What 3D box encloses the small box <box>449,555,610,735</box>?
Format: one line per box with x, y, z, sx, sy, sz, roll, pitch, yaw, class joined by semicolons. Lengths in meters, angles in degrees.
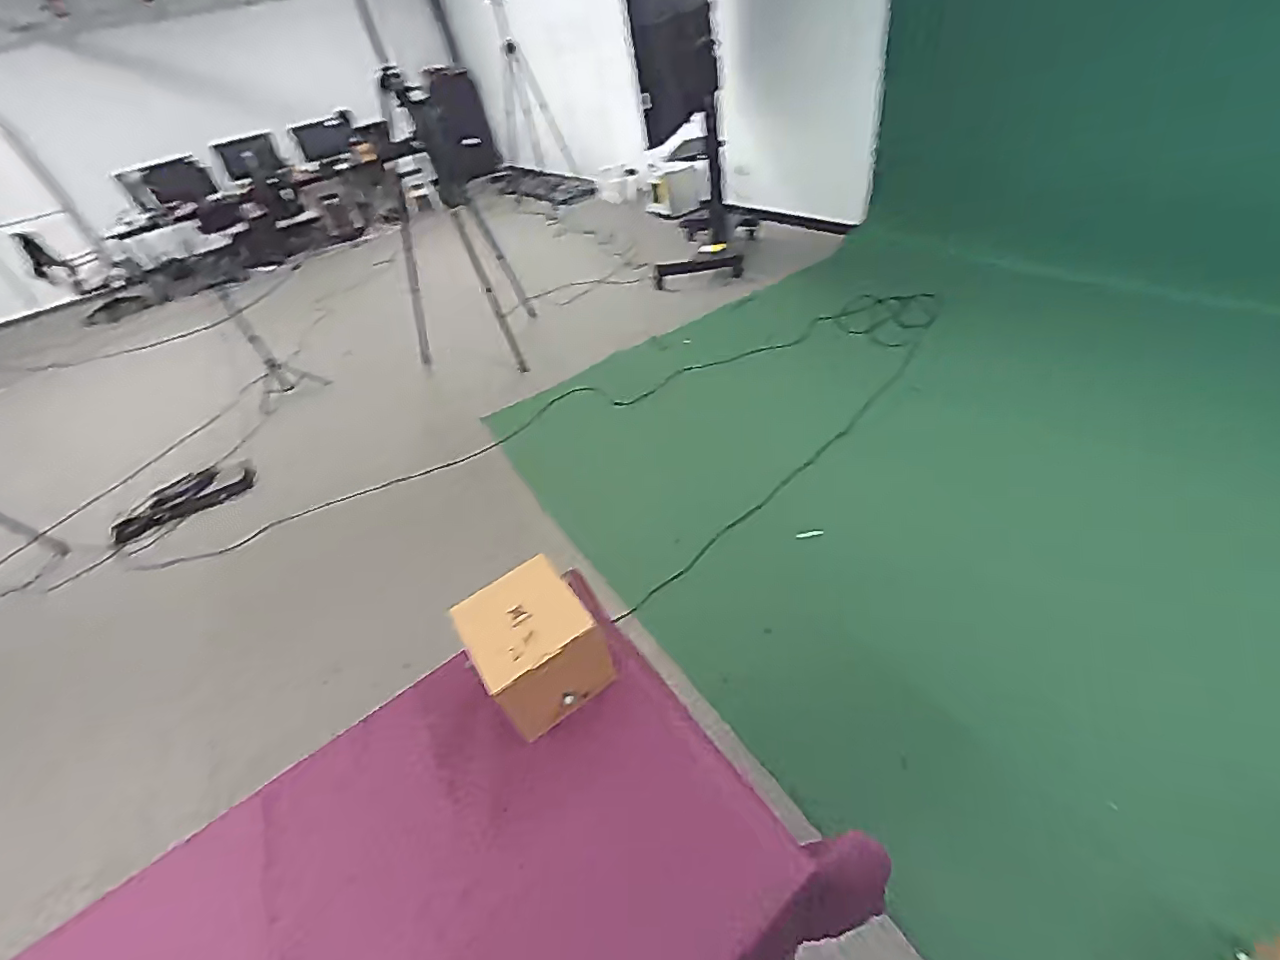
-0.169;0.260;0.850;0.168;0.176;0.179;-32;47;-18;small box
